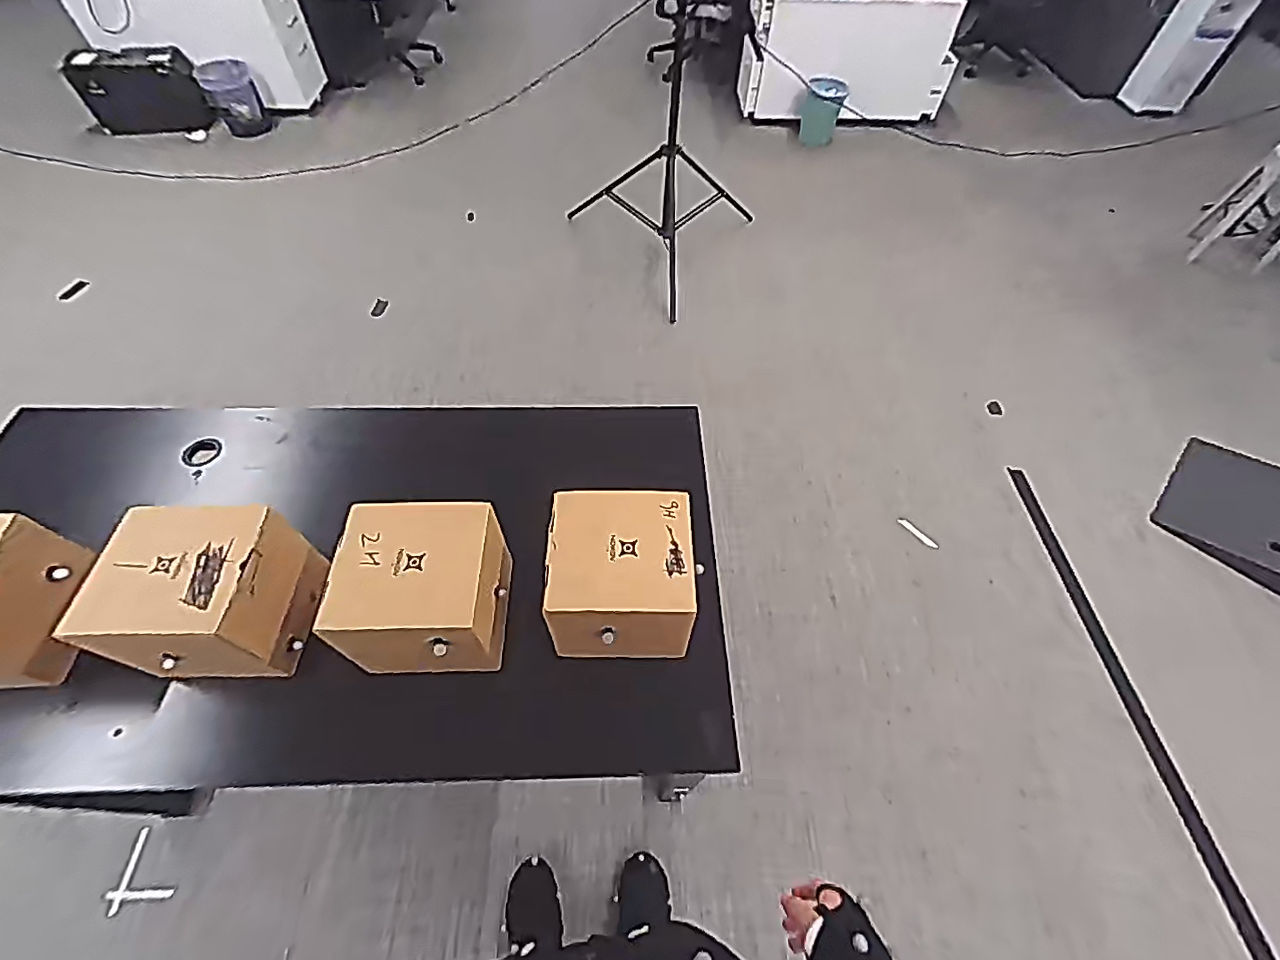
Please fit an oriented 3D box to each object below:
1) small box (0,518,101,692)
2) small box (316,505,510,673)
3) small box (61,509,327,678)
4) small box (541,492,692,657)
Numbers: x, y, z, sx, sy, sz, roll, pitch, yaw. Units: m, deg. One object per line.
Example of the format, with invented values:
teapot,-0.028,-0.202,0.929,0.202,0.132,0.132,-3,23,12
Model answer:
small box,-0.838,0.163,0.682,0.179,0.176,0.168,-3,55,-3
small box,-0.273,0.146,0.705,0.179,0.176,0.168,-1,55,-2
small box,-0.544,0.150,0.697,0.179,0.176,0.168,-1,55,-1
small box,-0.026,0.131,0.723,0.179,0.176,0.168,-1,55,0
